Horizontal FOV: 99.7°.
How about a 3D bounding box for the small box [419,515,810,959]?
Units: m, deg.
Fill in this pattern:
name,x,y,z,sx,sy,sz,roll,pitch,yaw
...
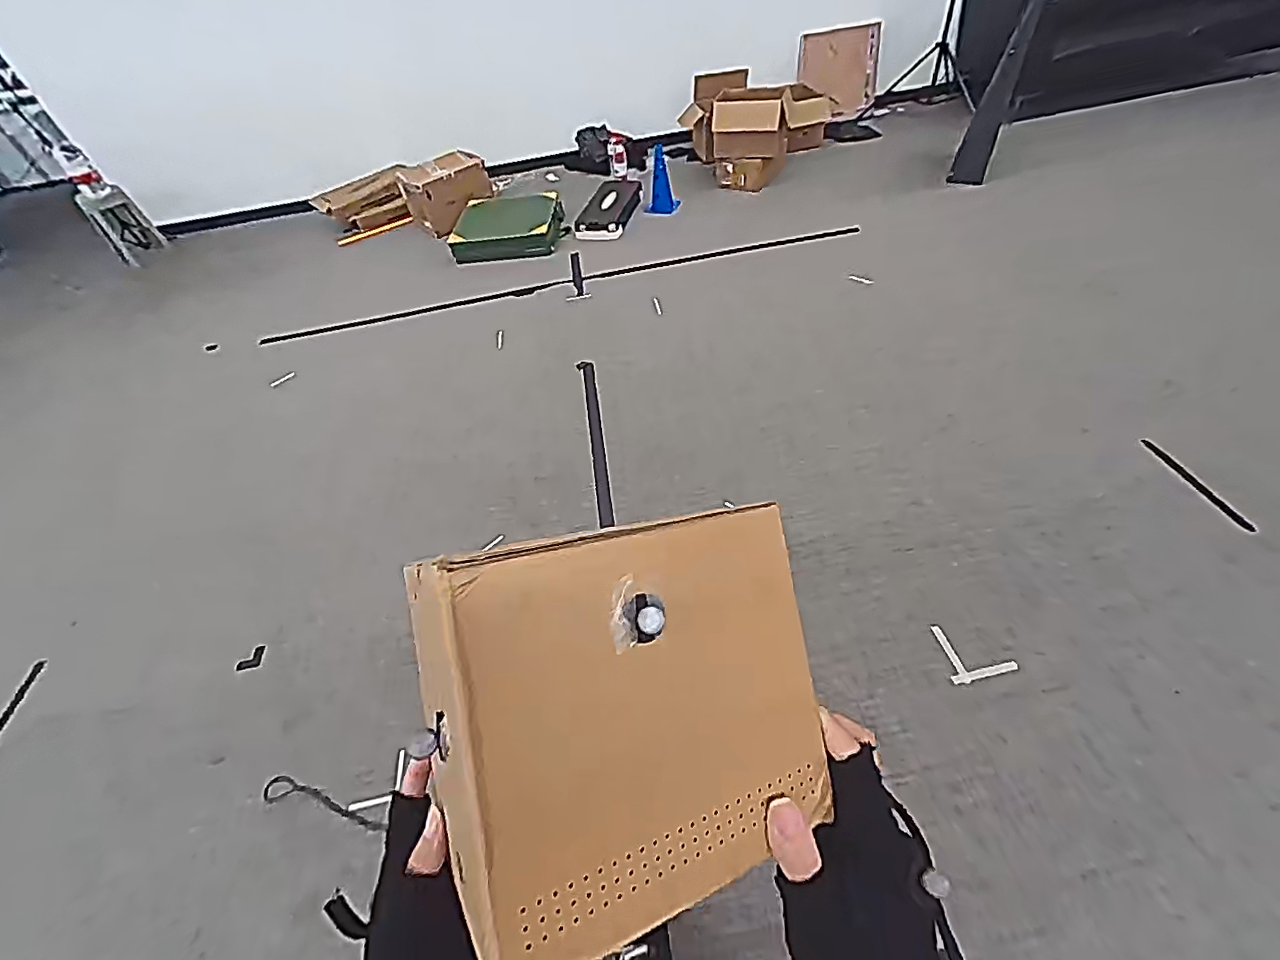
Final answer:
name,x,y,z,sx,sy,sz,roll,pitch,yaw
small box,-0.024,0.124,0.328,0.179,0.168,0.176,-7,85,-28
